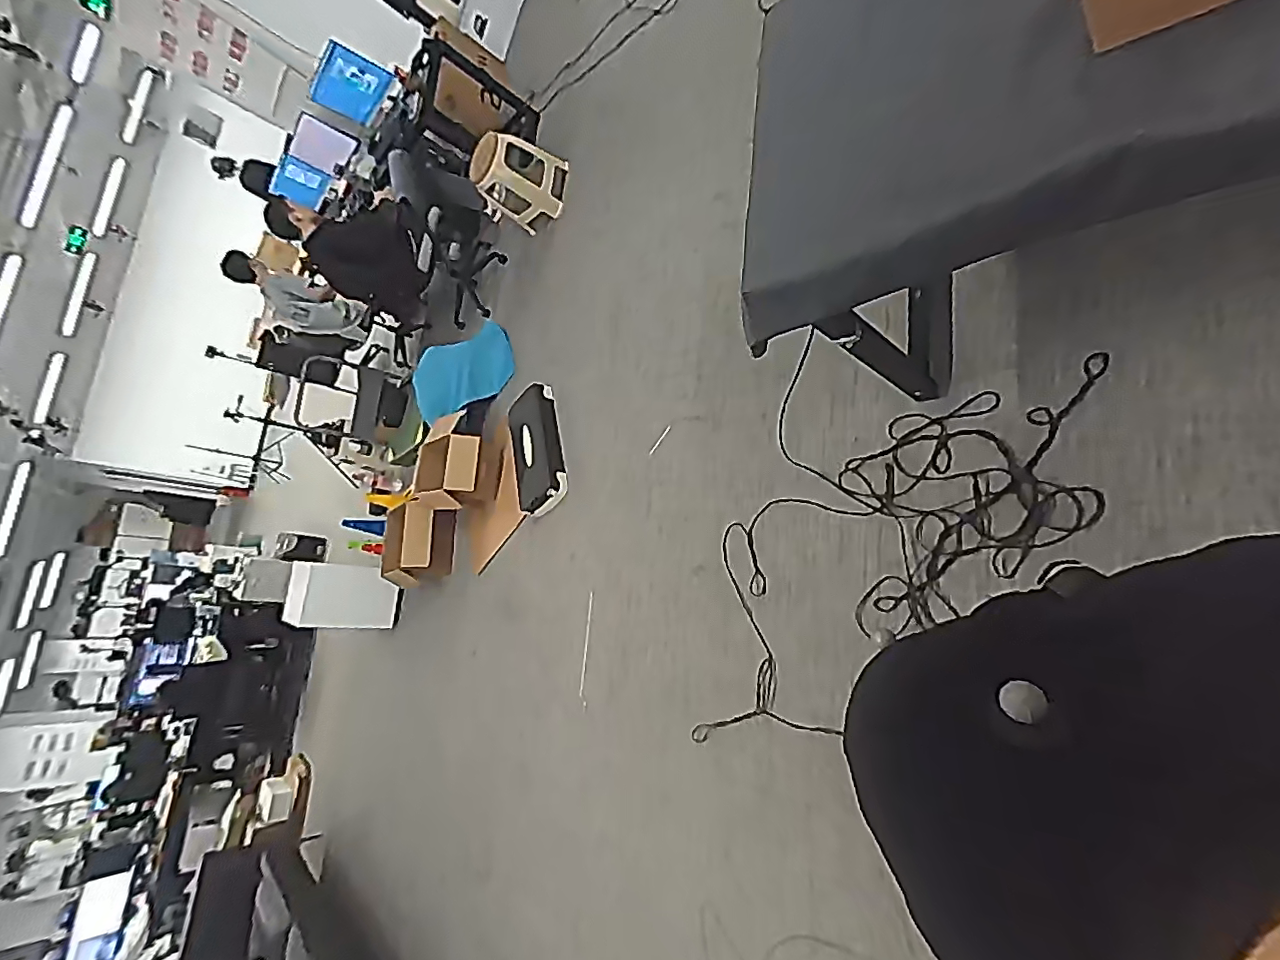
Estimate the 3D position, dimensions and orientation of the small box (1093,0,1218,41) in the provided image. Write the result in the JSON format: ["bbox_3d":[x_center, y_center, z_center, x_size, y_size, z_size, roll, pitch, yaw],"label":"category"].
[{"bbox_3d":[0.546,-0.583,0.507,0.179,0.176,0.168,8,83,50],"label":"small box"}]
